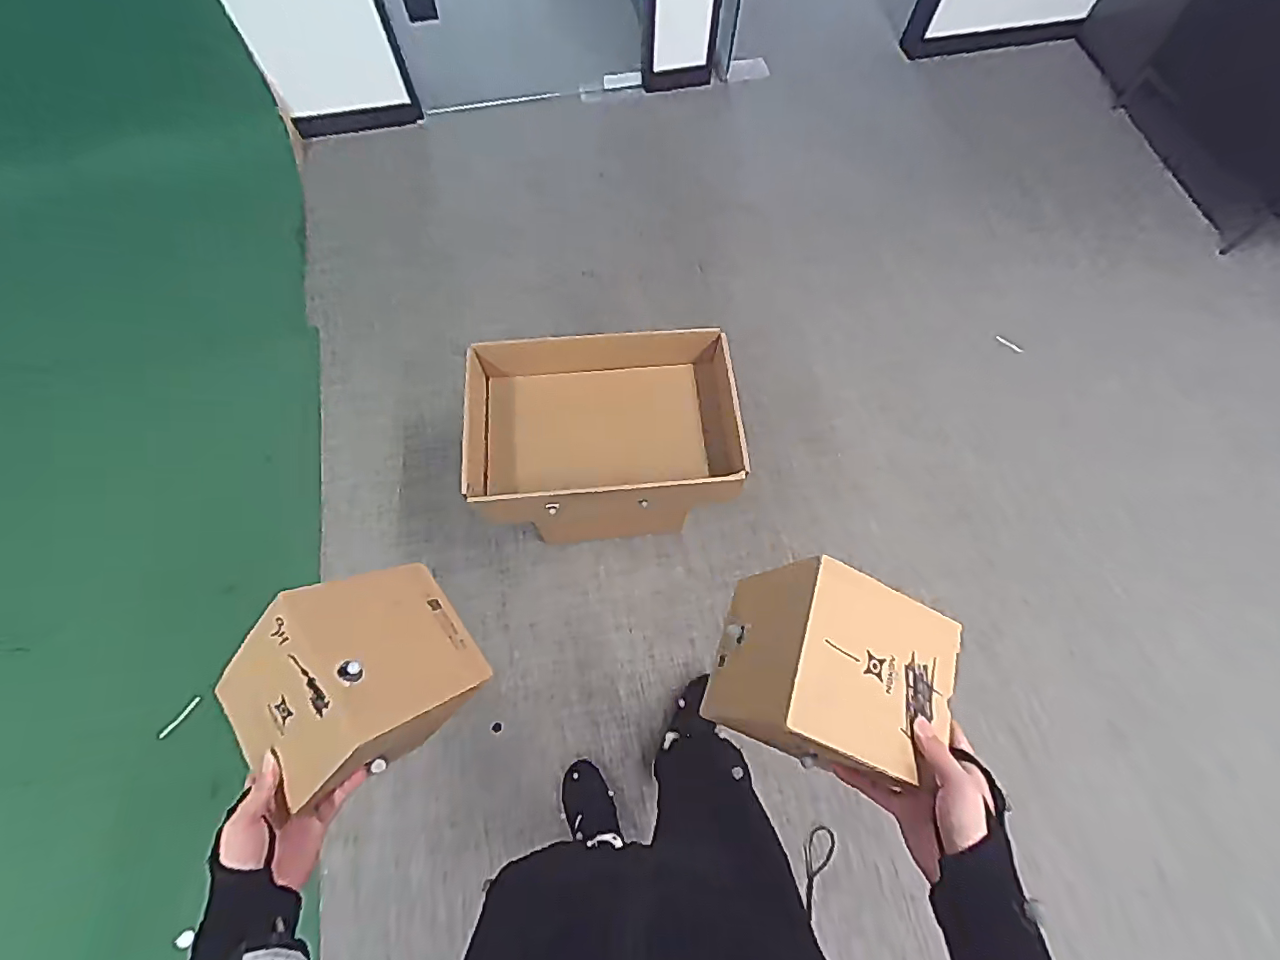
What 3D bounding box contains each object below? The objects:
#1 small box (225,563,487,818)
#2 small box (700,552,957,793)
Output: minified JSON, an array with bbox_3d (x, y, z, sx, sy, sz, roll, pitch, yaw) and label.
[{"bbox_3d":[-0.304,0.215,0.593,0.179,0.176,0.168,-47,71,22],"label":"small box"},{"bbox_3d":[0.192,0.199,0.571,0.179,0.176,0.168,27,63,-8],"label":"small box"}]
